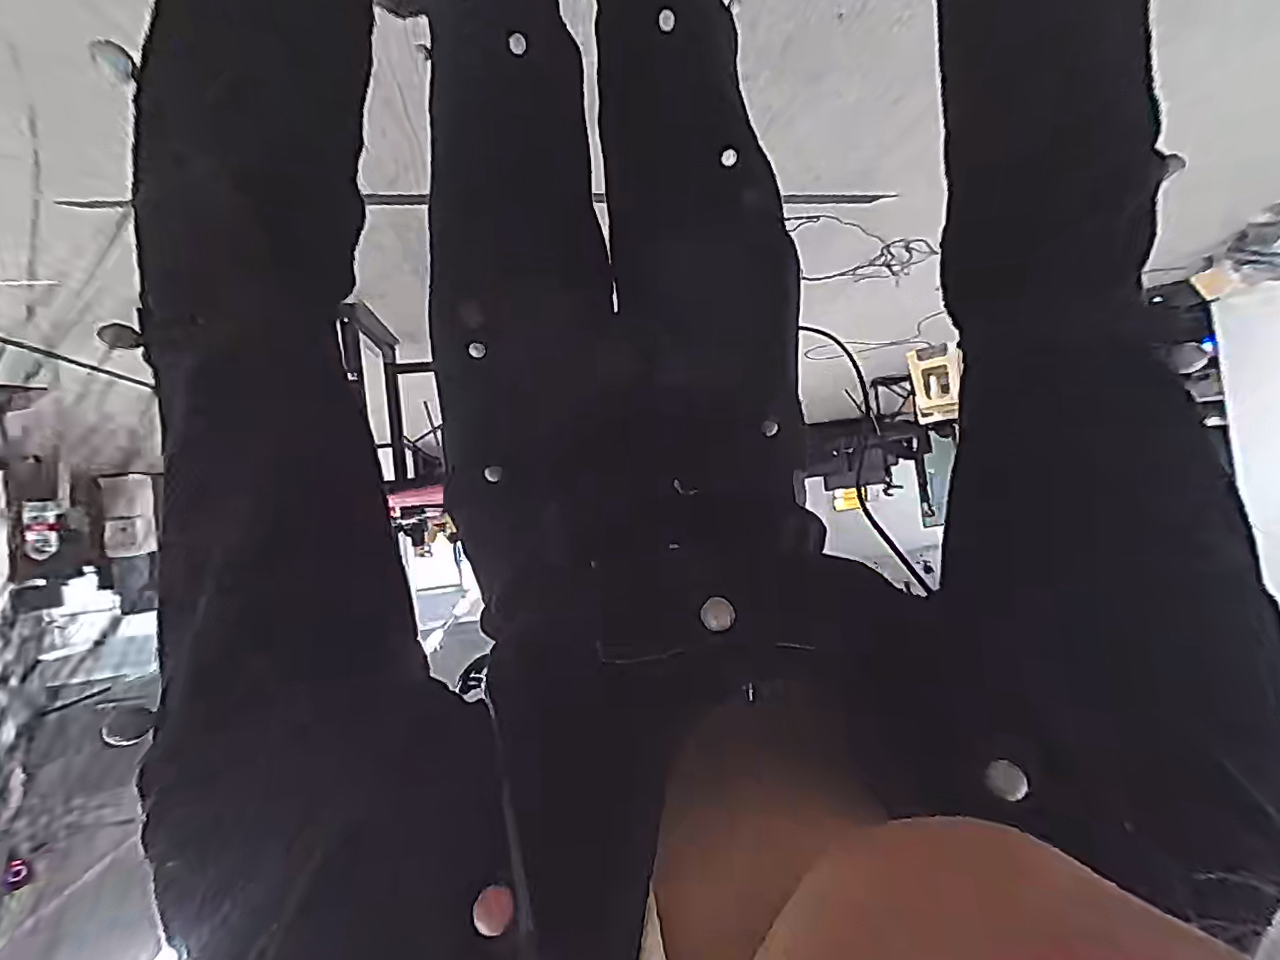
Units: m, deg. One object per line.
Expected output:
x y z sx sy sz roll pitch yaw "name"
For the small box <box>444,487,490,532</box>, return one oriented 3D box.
-0.726 0.121 2.266 0.168 0.176 0.179 -7 179 -17 "small box"
